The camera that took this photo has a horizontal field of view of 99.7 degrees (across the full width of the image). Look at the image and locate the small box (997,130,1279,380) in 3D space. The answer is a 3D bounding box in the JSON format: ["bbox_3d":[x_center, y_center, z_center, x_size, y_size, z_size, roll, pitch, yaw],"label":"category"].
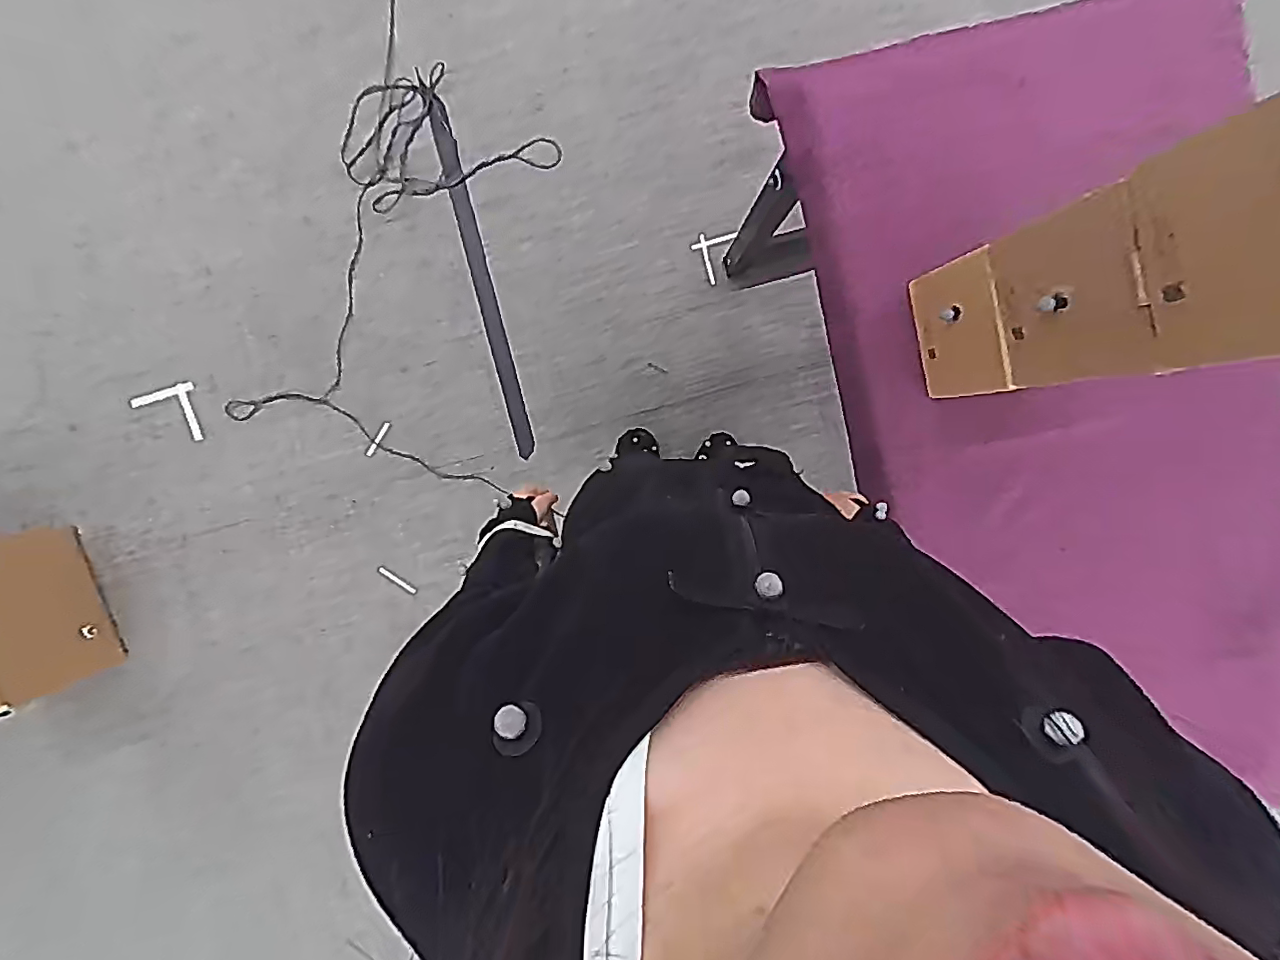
[{"bbox_3d":[0.491,-0.203,0.533,0.179,0.176,0.168,-16,96,-1],"label":"small box"}]

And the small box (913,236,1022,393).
[{"bbox_3d":[0.479,-0.214,0.696,0.179,0.176,0.168,-14,96,-2],"label":"small box"}]
